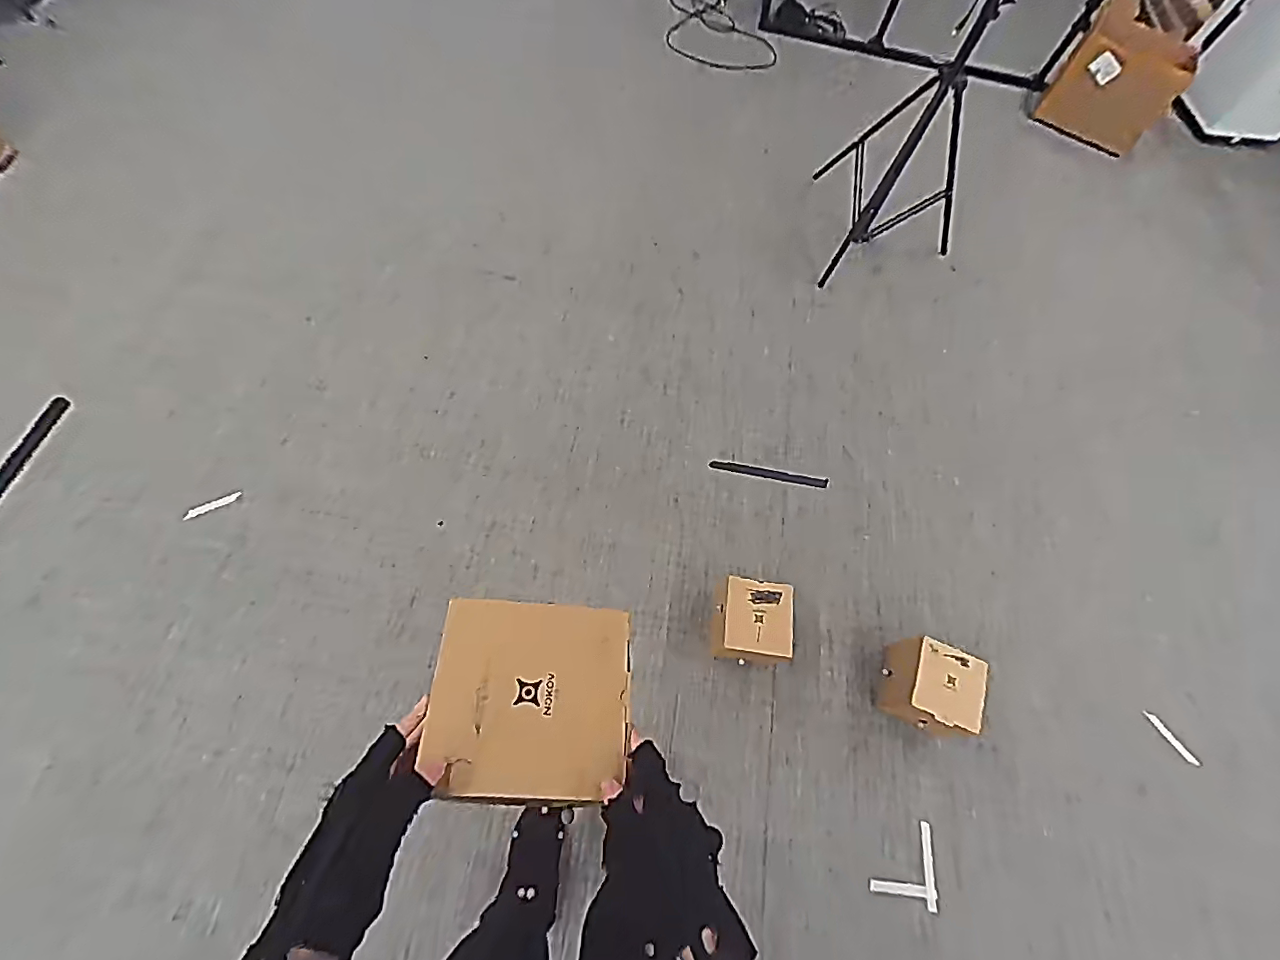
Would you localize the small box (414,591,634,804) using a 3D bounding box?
[{"bbox_3d":[-0.105,0.225,0.546,0.179,0.176,0.168,5,55,-7],"label":"small box"}]

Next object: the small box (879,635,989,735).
[{"bbox_3d":[0.718,0.509,1.337,0.168,0.176,0.179,24,66,4],"label":"small box"}]

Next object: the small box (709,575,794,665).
[{"bbox_3d":[0.276,0.354,1.355,0.168,0.176,0.179,9,66,-2],"label":"small box"}]
